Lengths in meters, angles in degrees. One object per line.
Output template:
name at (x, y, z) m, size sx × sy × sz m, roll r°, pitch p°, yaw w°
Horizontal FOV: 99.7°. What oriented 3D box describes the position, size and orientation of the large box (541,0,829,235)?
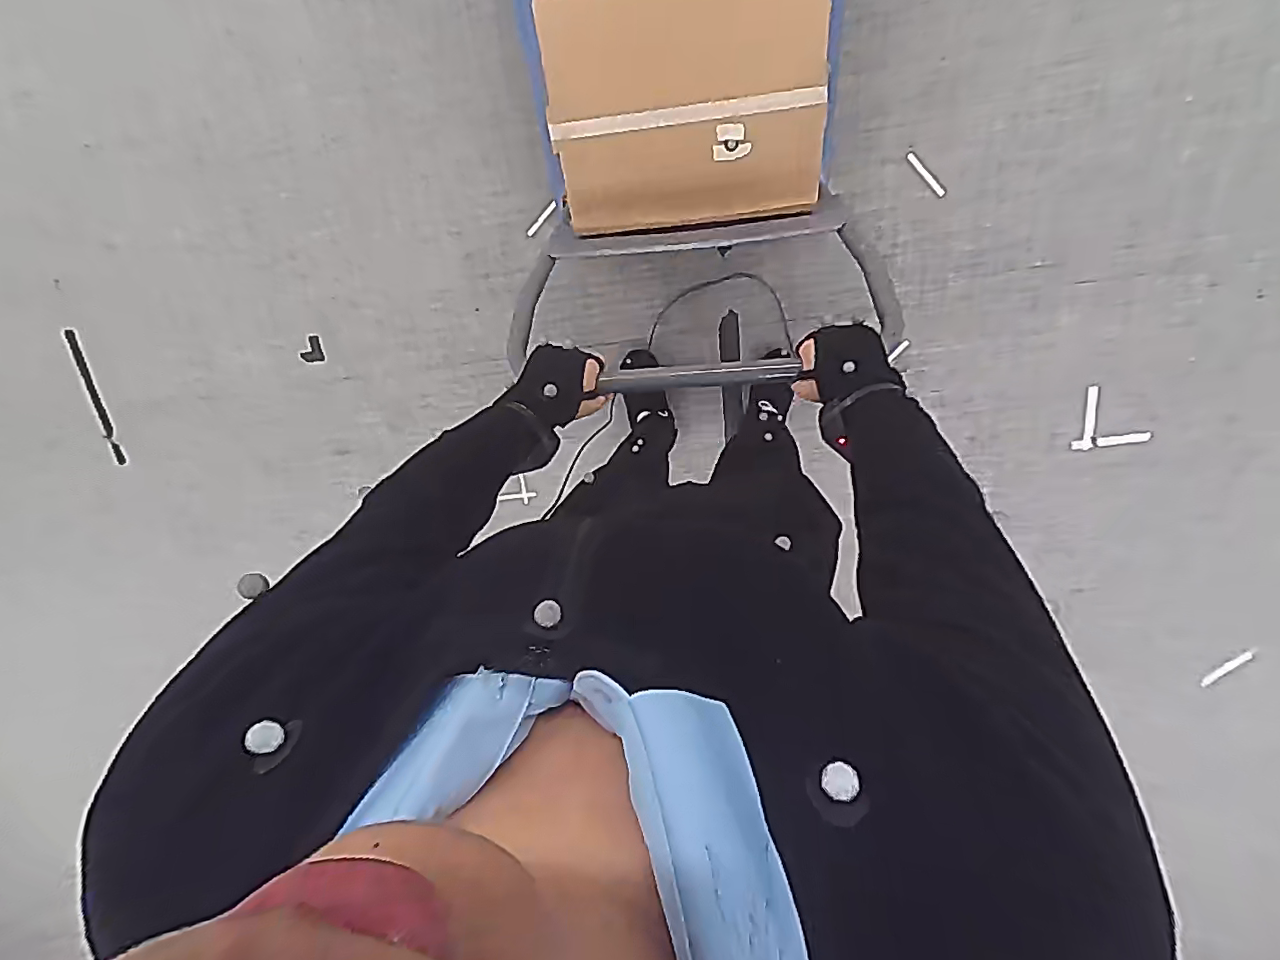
large box at (0.080, -0.650, 0.940) m, size 0.408 × 0.320 × 0.320 m, roll -4°, pitch 129°, yaw 6°
